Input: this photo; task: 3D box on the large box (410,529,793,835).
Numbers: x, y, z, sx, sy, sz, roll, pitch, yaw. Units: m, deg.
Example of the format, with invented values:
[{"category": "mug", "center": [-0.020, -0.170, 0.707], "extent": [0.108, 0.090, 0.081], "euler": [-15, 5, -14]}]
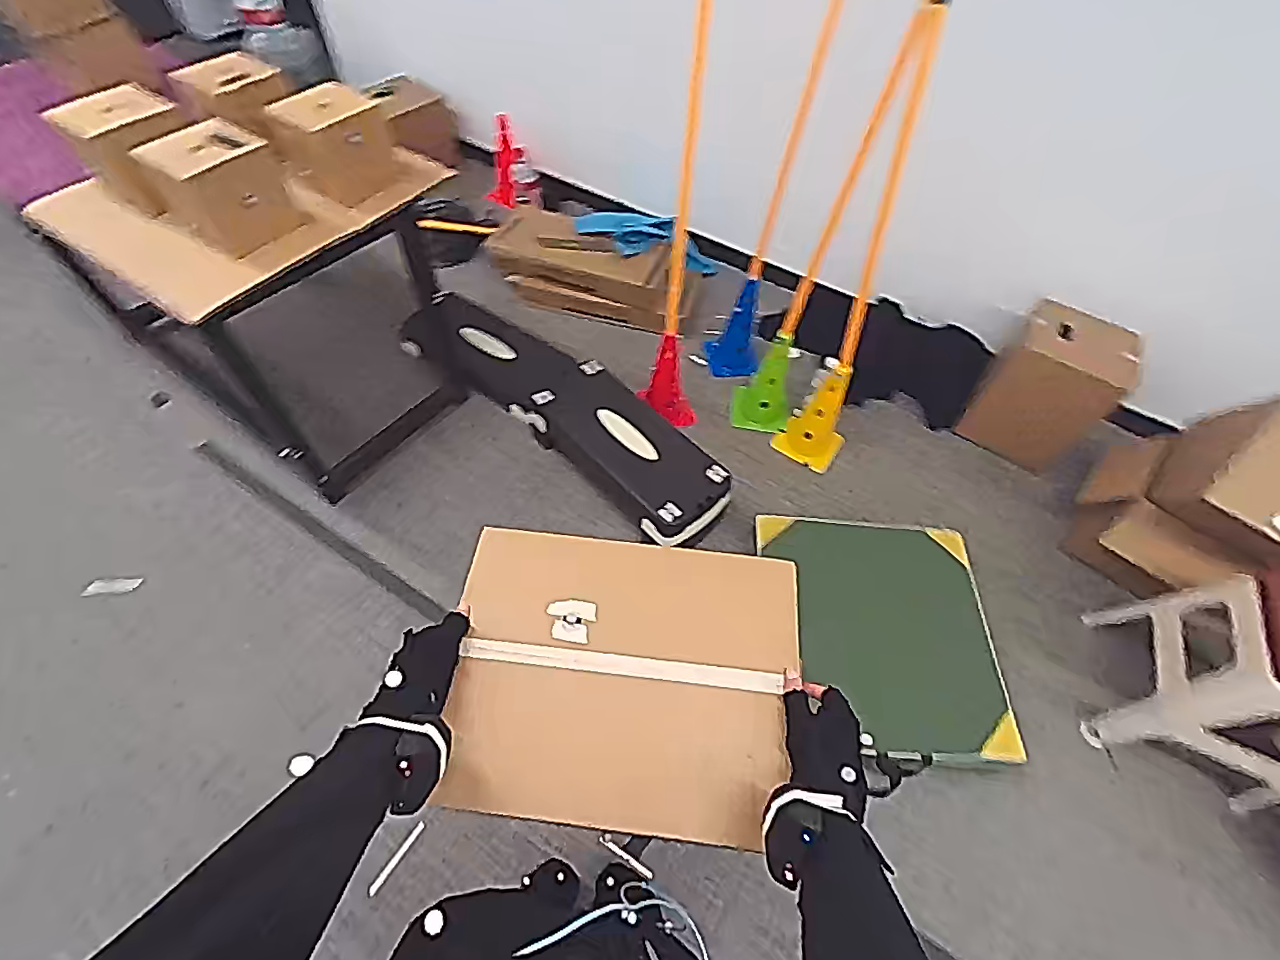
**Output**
[{"category": "large box", "center": [-0.027, 0.285, 0.755], "extent": [0.408, 0.320, 0.320], "euler": [5, 58, 3]}]
